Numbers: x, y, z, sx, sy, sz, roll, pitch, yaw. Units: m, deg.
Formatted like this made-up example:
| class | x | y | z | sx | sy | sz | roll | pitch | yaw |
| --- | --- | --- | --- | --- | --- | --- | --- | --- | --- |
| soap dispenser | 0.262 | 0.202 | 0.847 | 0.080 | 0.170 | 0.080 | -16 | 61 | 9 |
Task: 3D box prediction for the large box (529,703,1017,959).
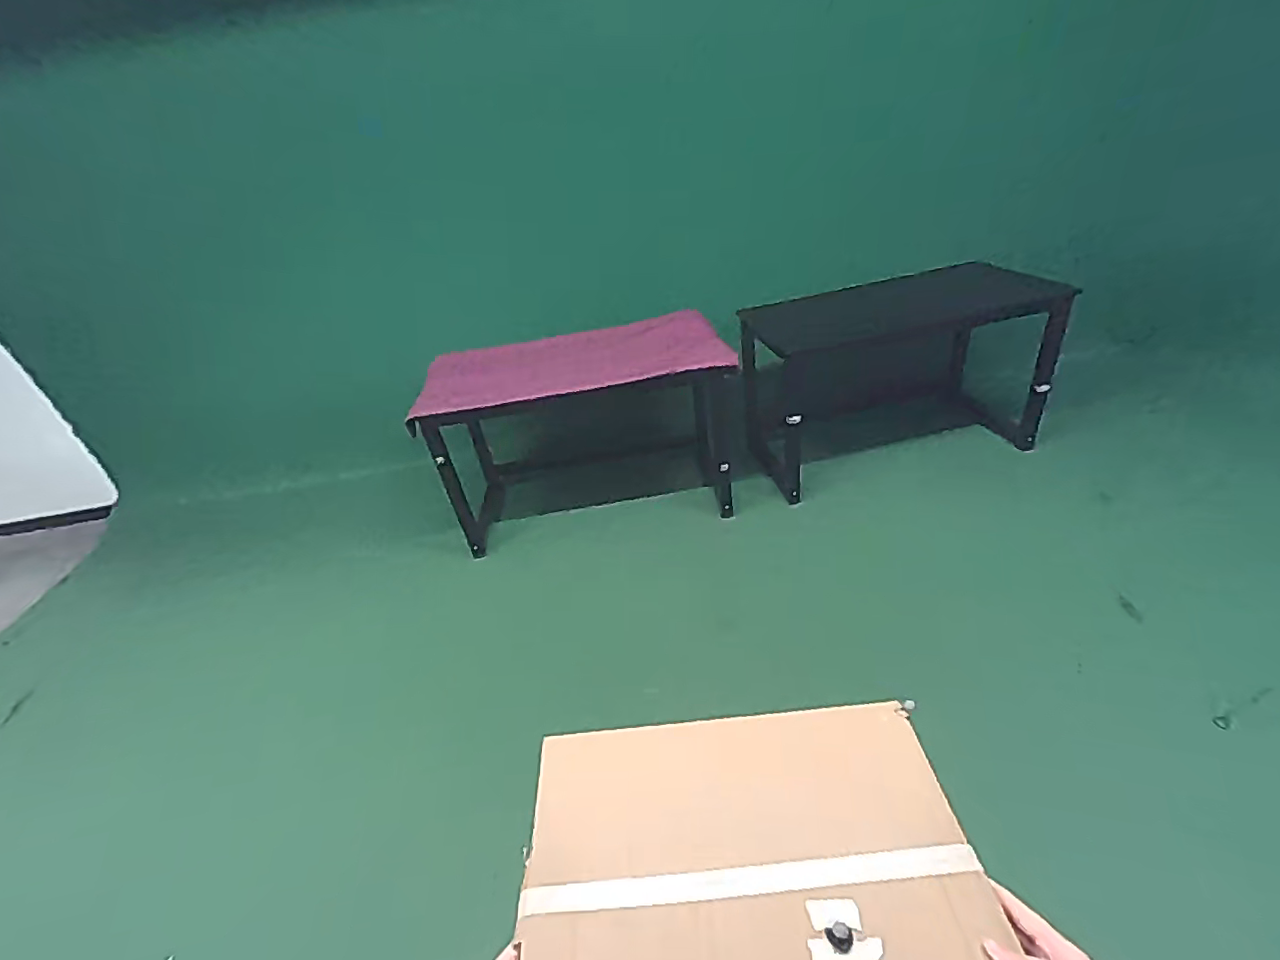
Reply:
| class | x | y | z | sx | sy | sz | roll | pitch | yaw |
| --- | --- | --- | --- | --- | --- | --- | --- | --- | --- |
| large box | 0.112 | 0.482 | 0.576 | 0.408 | 0.320 | 0.320 | -6 | 35 | 1 |
